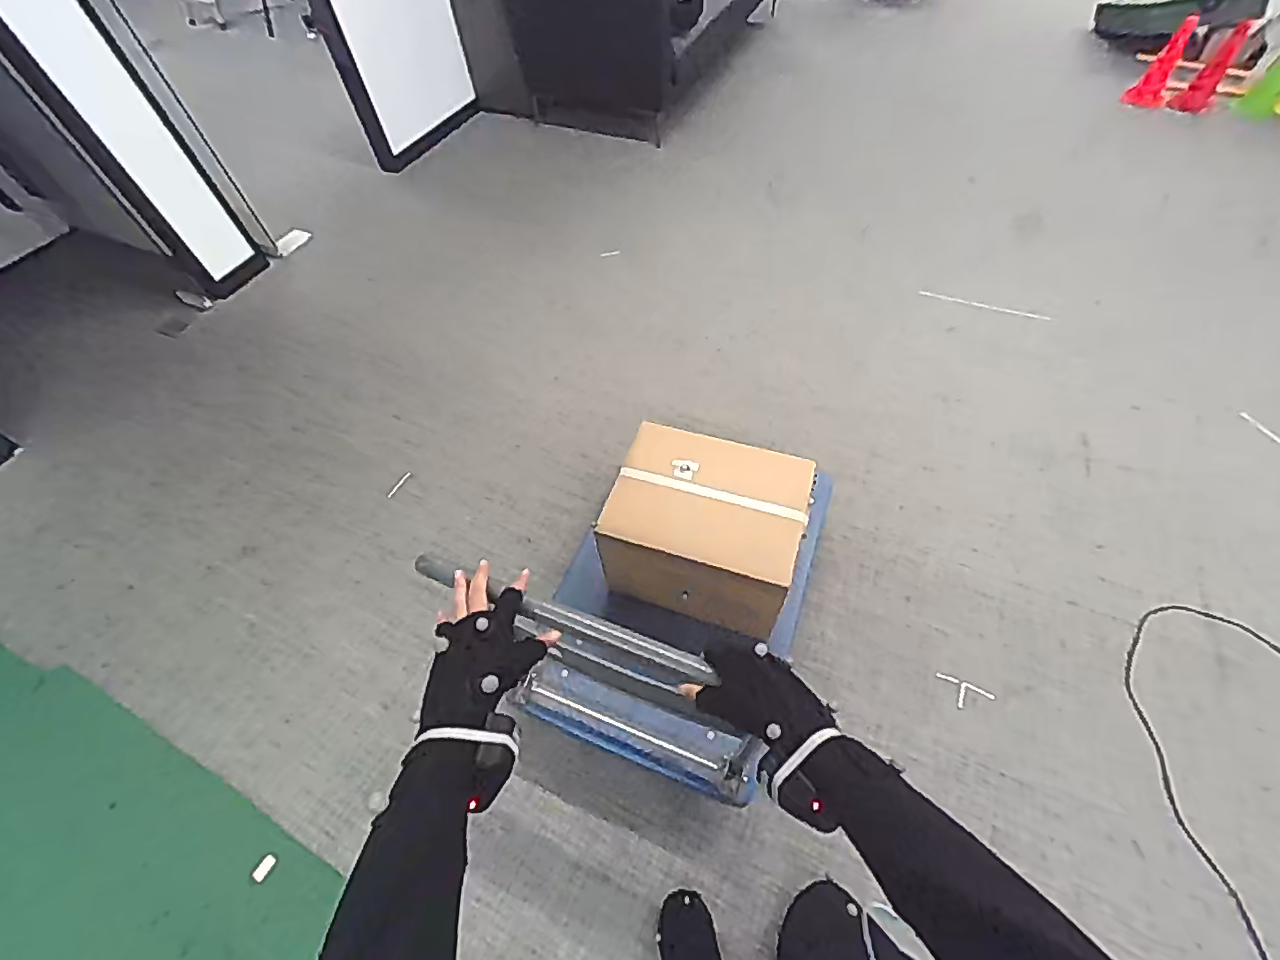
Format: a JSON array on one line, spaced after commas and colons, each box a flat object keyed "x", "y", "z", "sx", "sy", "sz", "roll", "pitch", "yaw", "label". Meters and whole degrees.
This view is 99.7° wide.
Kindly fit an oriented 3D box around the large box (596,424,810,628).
[{"x": 0.154, "y": 0.113, "z": 1.280, "sx": 0.408, "sy": 0.320, "sz": 0.320, "roll": 14, "pitch": 58, "yaw": 14, "label": "large box"}]
